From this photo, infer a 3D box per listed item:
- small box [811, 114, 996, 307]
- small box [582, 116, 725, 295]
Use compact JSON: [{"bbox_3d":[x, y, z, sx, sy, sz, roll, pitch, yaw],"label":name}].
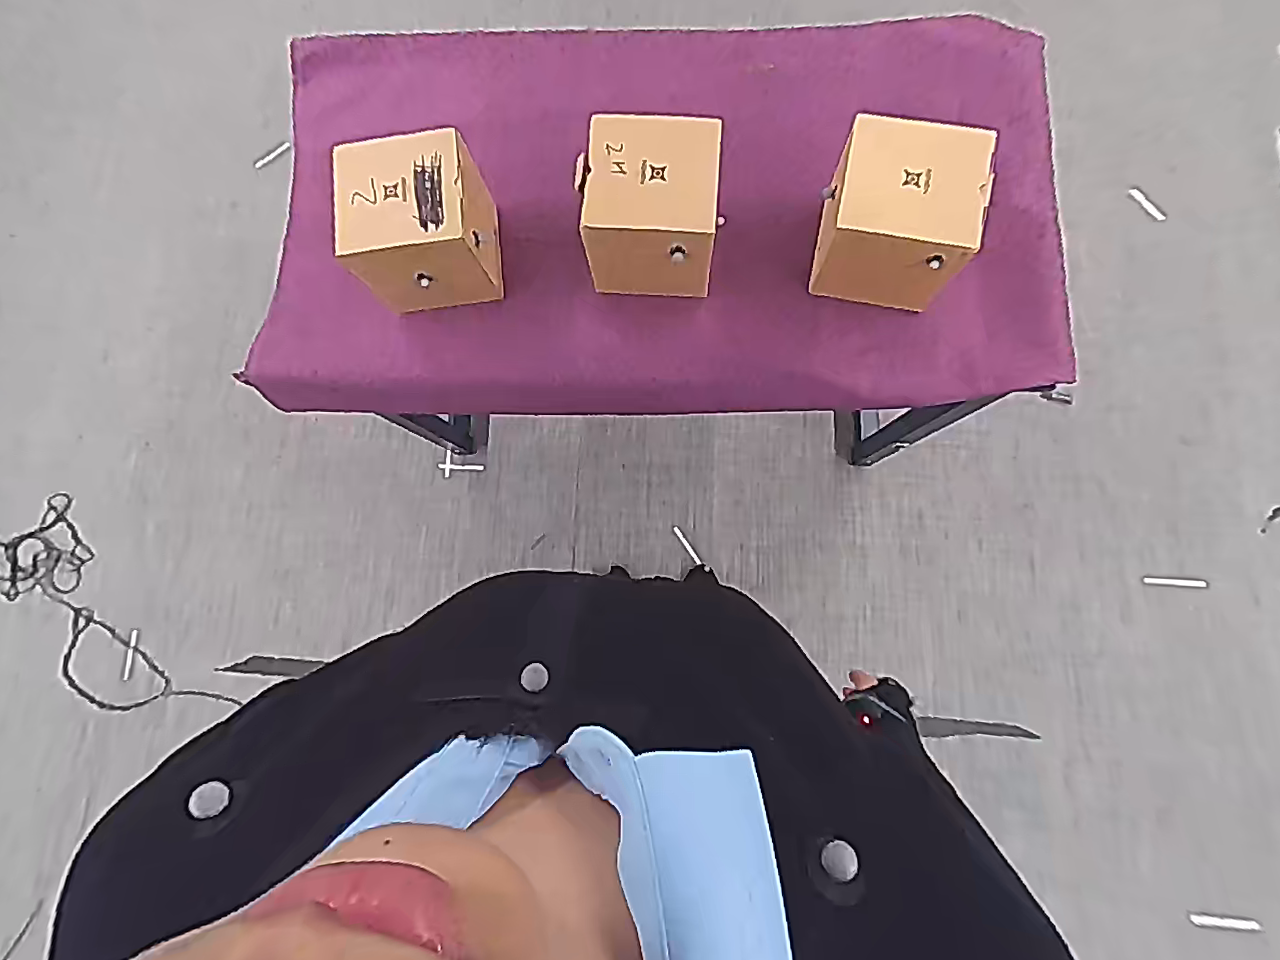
[{"bbox_3d":[0.351,-0.362,0.753,0.179,0.176,0.168,11,82,6],"label":"small box"},{"bbox_3d":[0.022,-0.382,0.778,0.179,0.176,0.168,4,81,4],"label":"small box"}]
